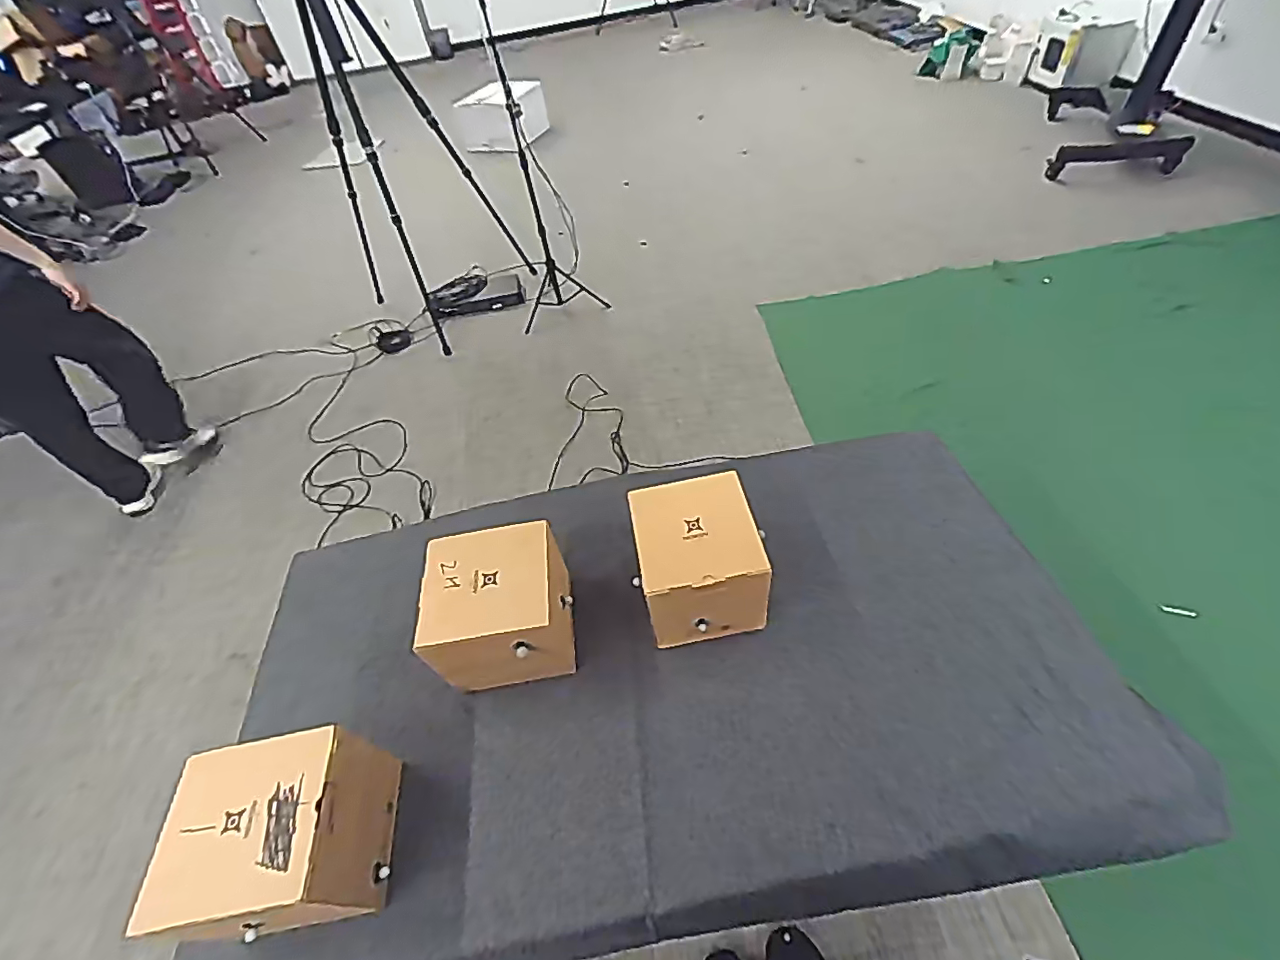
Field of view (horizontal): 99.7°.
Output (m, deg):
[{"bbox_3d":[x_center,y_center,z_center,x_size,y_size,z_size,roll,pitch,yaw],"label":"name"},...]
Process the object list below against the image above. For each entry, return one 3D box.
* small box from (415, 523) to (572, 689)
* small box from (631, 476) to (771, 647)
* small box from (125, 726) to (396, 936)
[{"bbox_3d":[-0.198,0.186,0.785,0.179,0.176,0.168,-9,50,0],"label":"small box"},{"bbox_3d":[0.084,0.123,0.803,0.168,0.176,0.179,-11,50,-1],"label":"small box"},{"bbox_3d":[-0.410,0.409,0.628,0.179,0.176,0.168,-11,49,-1],"label":"small box"}]
